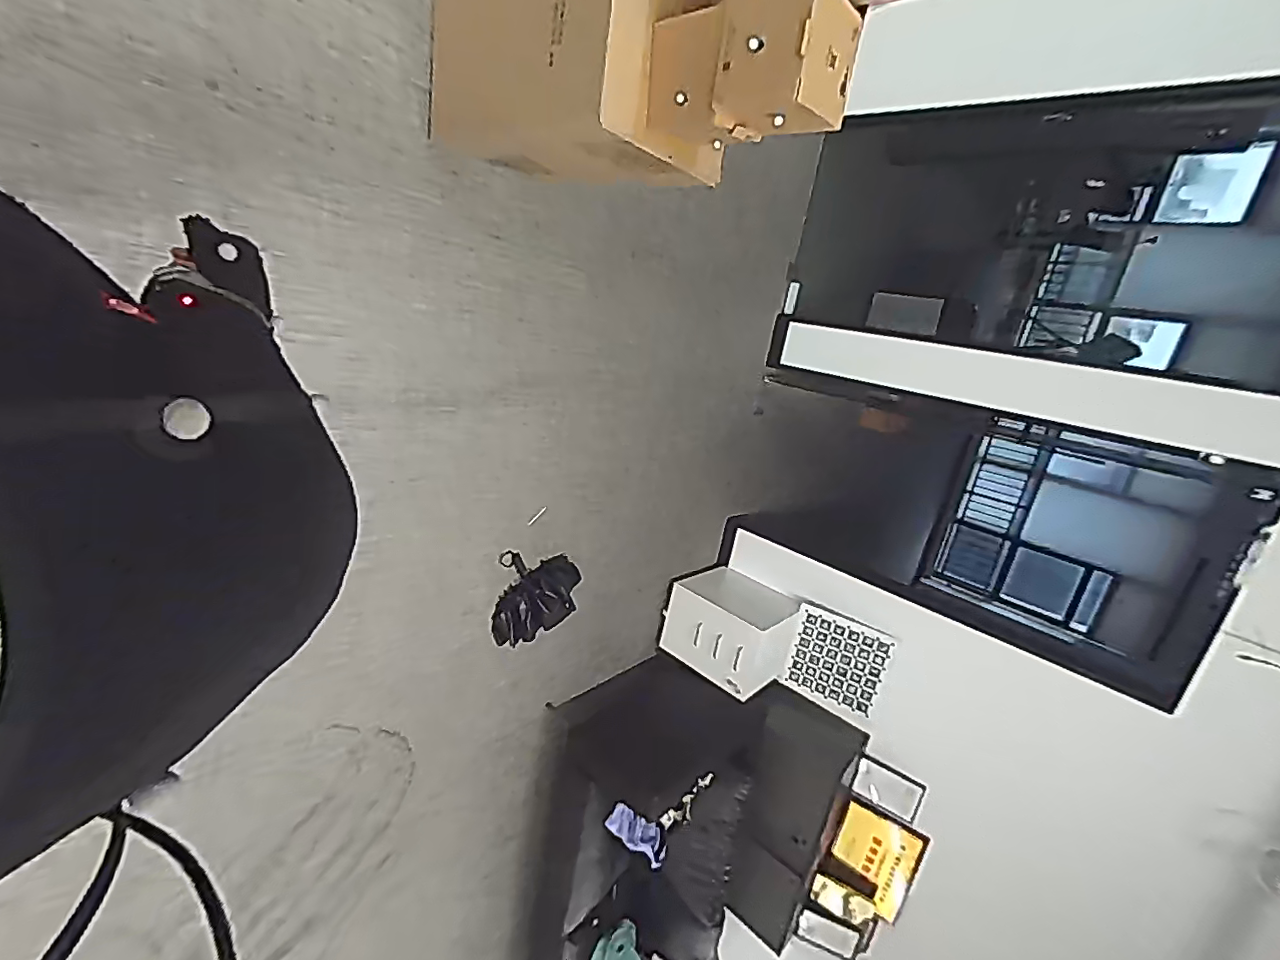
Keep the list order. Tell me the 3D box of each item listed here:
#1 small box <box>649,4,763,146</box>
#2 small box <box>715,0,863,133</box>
[{"bbox_3d":[0.132,-0.757,1.035,0.168,0.176,0.179,-20,122,-43],"label":"small box"},{"bbox_3d":[0.251,-0.715,0.931,0.179,0.176,0.168,-15,120,-45],"label":"small box"}]
